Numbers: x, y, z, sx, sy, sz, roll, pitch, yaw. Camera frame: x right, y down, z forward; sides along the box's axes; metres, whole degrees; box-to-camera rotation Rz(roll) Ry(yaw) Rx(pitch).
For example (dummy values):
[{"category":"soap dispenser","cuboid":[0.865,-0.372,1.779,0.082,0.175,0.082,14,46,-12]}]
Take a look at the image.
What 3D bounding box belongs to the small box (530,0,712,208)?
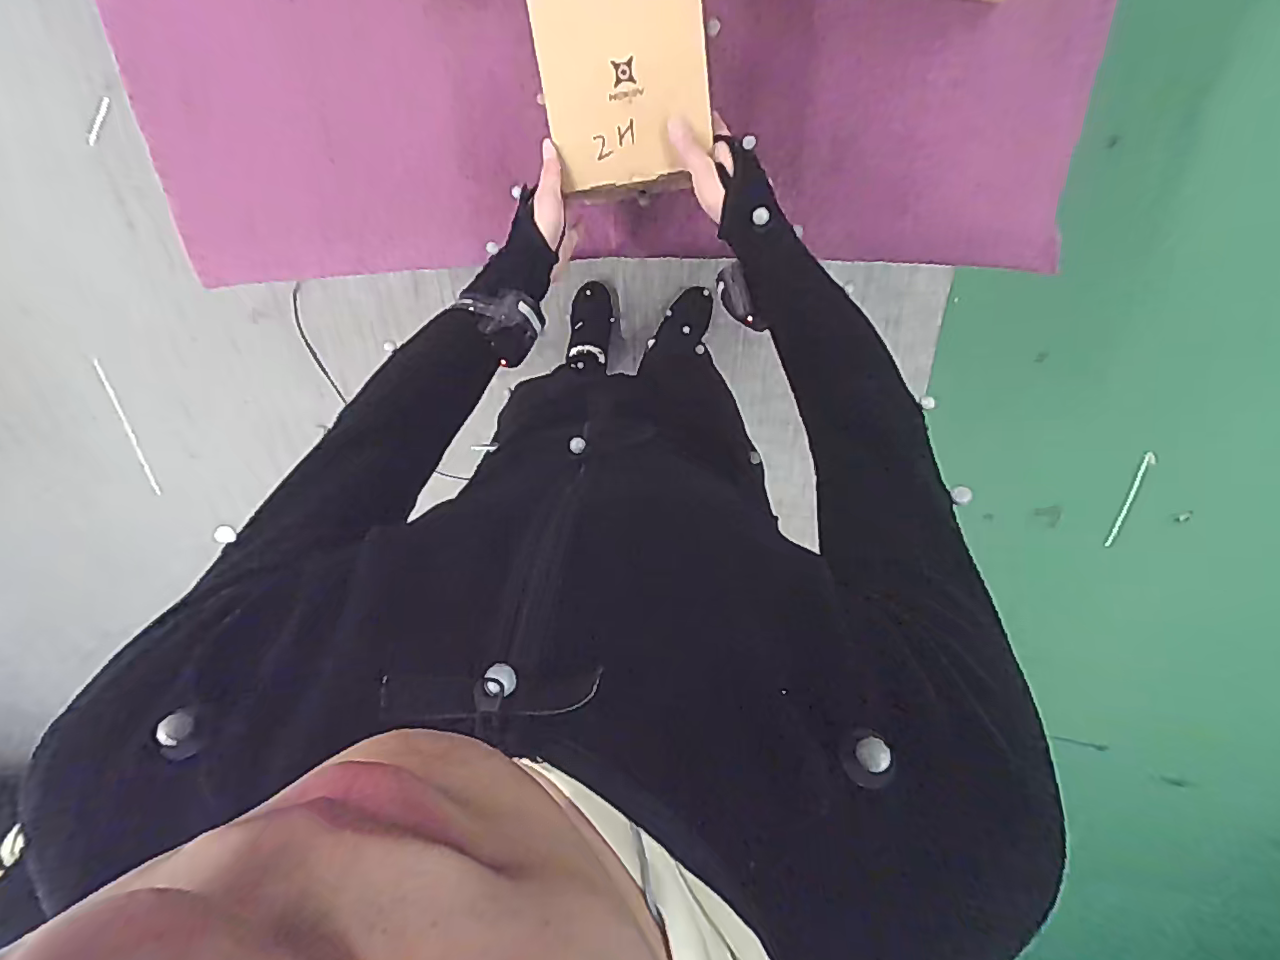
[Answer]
[{"category":"small box","cuboid":[-0.010,-0.418,0.609,0.168,0.176,0.179,-5,113,8]}]
